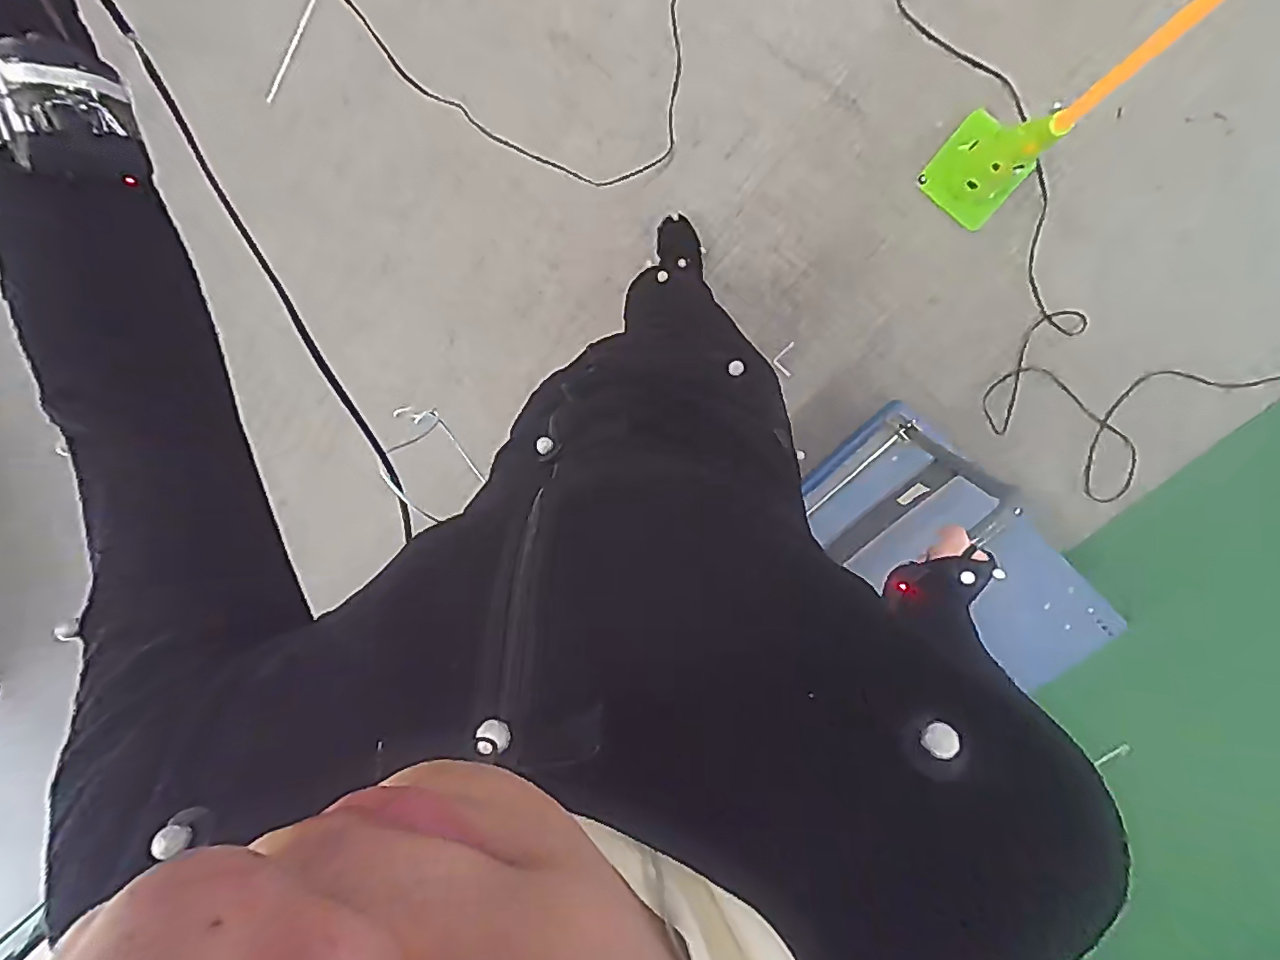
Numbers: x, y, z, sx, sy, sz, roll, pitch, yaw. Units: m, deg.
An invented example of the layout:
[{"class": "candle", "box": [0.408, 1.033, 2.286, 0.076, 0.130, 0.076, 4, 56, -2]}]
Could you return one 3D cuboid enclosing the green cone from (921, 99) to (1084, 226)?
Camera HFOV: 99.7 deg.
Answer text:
[{"class": "green cone", "box": [0.780, -0.691, 1.116, 0.200, 0.368, 0.202, 37, 108, -4]}]
